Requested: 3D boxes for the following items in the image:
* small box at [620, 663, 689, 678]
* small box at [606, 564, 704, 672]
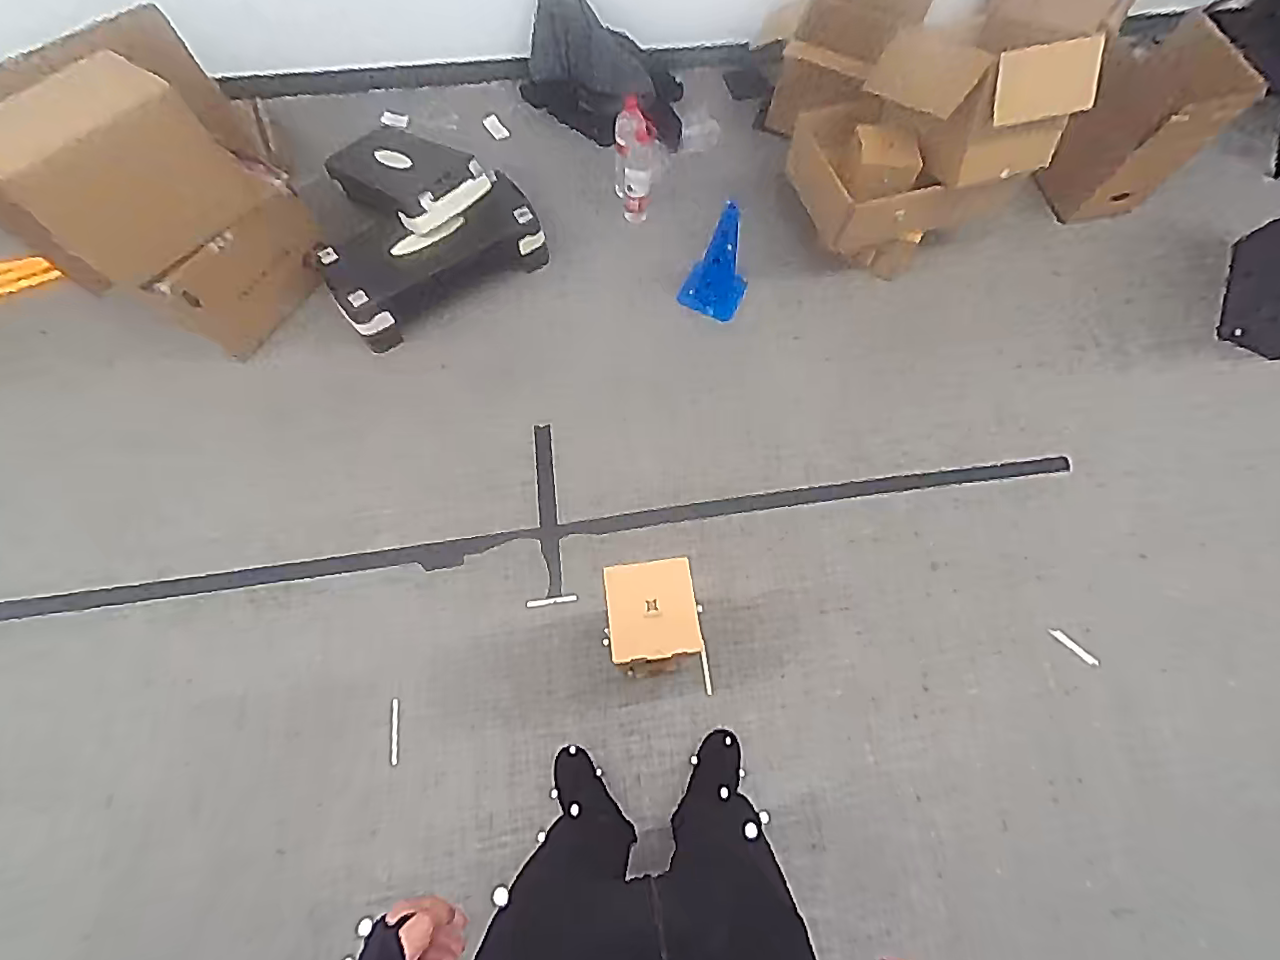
[{"bbox_3d":[0.019,0.399,1.373,0.168,0.176,0.179,-10,70,-5],"label":"small box"},{"bbox_3d":[0.022,0.277,1.069,0.168,0.176,0.179,-6,70,-5],"label":"small box"}]
